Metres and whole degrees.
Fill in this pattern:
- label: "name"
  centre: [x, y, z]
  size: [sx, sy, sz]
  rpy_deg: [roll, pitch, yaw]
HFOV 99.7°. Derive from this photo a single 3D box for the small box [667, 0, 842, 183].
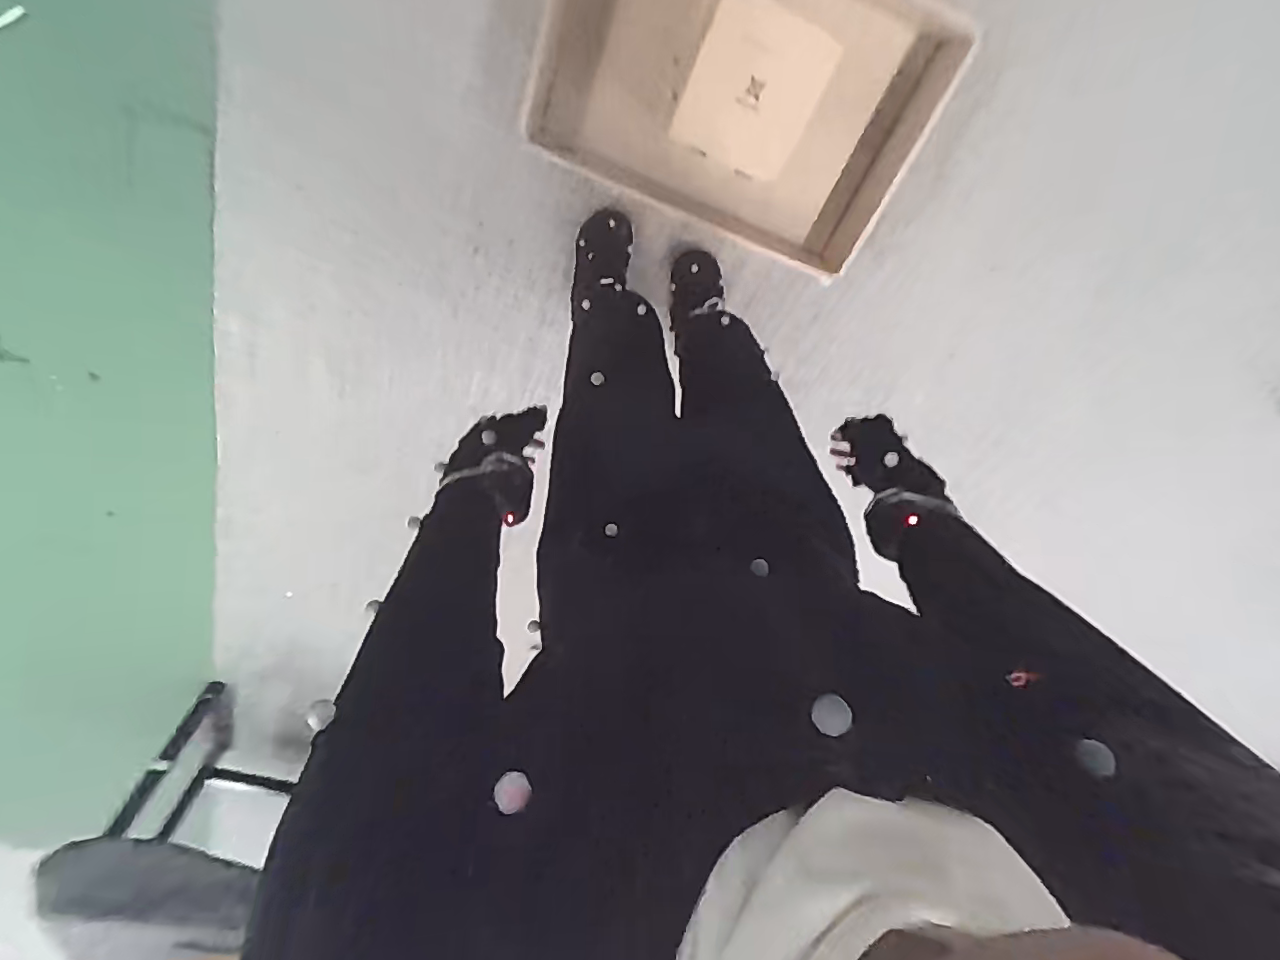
- label: "small box"
  centre: [0.143, -0.544, 0.744]
  size: [0.168, 0.176, 0.179]
  rpy_deg: [16, 127, -11]
